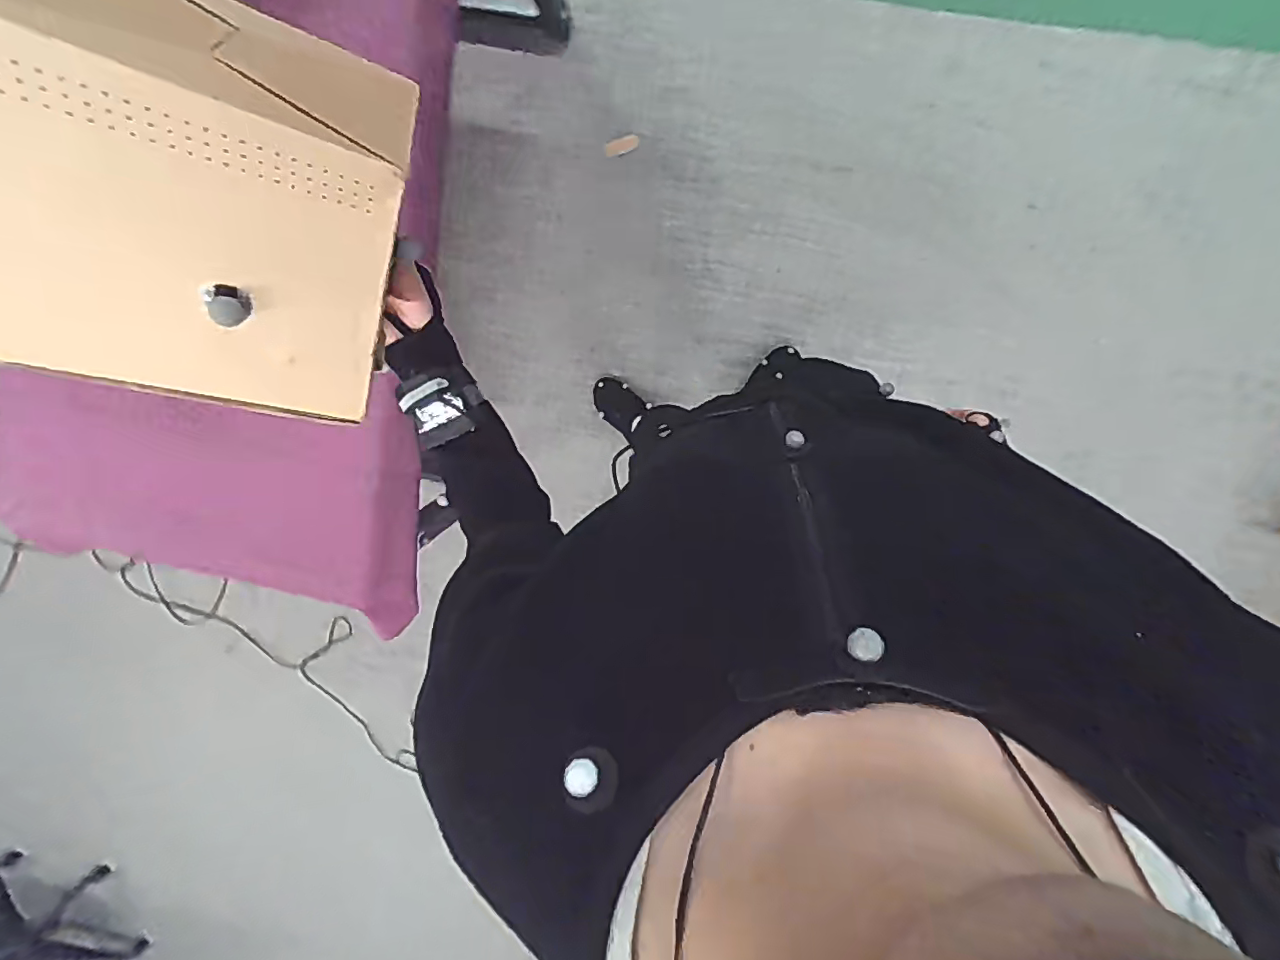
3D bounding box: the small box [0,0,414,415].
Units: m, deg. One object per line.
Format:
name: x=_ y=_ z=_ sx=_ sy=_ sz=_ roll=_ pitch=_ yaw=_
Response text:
small box: x=-0.231 y=-0.165 z=0.304 sx=0.179 sy=0.168 sz=0.176 roll=9 pitch=133 yaw=-28
